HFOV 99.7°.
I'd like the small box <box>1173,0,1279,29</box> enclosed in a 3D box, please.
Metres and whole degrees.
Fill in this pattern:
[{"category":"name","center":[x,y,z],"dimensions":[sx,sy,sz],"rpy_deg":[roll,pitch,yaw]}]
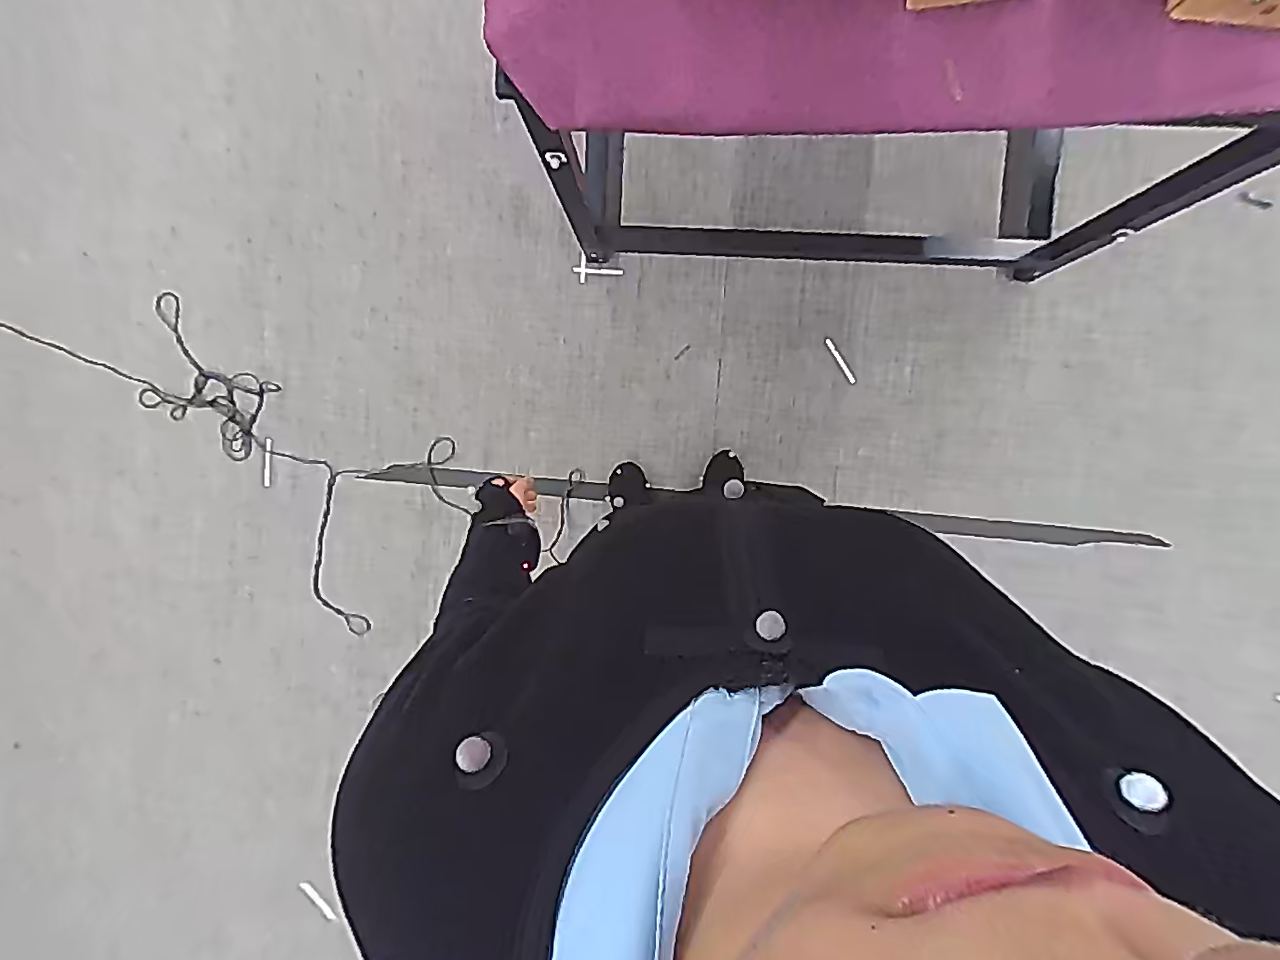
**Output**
[{"category":"small box","center":[0.766,-0.670,0.610],"dimensions":[0.168,0.176,0.179],"rpy_deg":[8,92,3]}]
